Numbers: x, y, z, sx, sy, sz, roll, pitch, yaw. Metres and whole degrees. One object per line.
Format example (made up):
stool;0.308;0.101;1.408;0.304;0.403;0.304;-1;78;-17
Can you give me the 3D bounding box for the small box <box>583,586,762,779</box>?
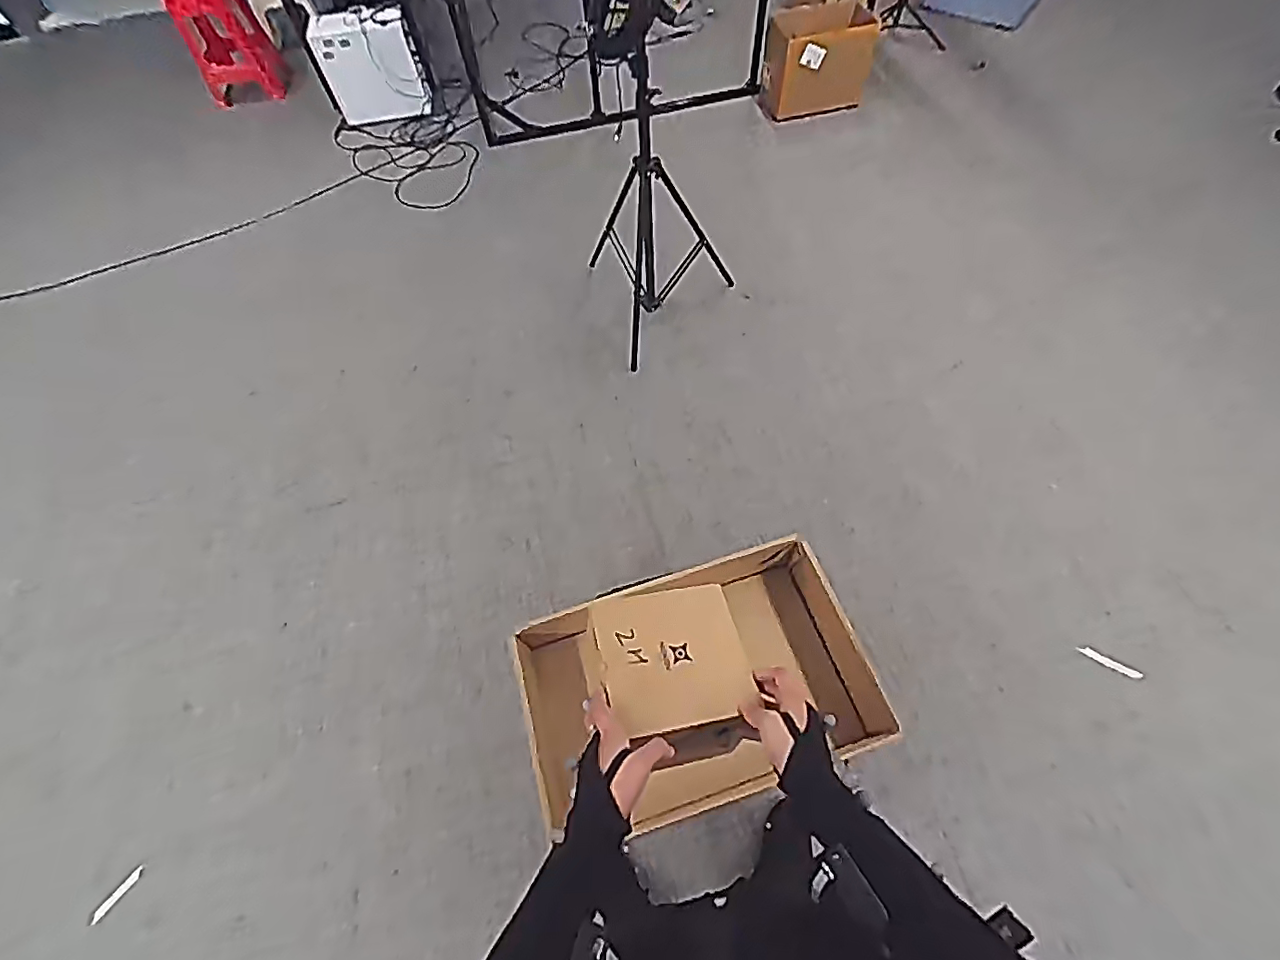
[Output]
small box;0.027;0.258;0.689;0.179;0.176;0.168;-6;50;-13
